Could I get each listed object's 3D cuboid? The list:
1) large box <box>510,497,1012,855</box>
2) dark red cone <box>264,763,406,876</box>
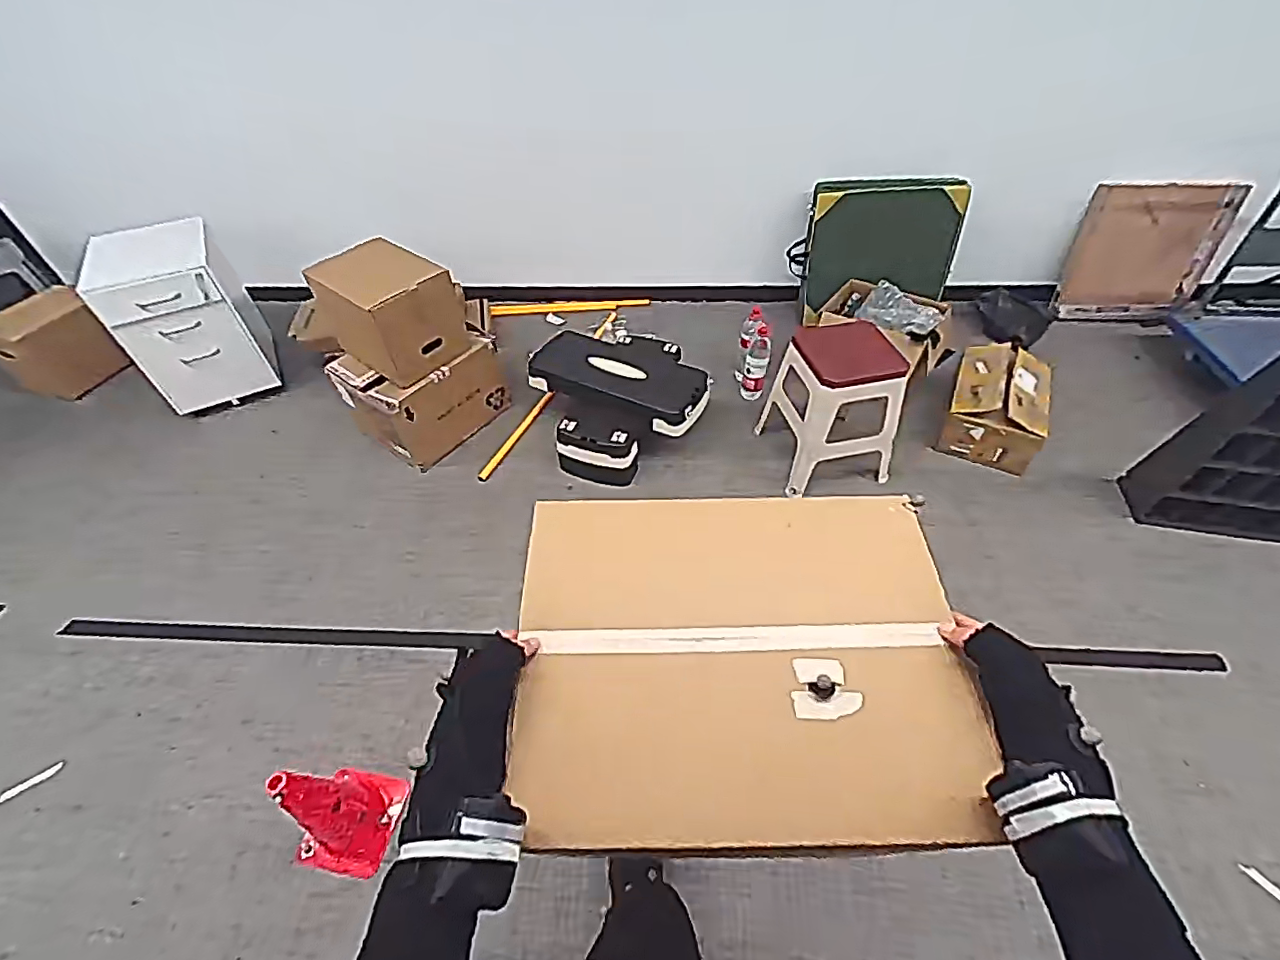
[{"bbox_3d":[0.091,0.235,0.626,0.408,0.320,0.320,-1,54,0],"label":"large box"},{"bbox_3d":[-0.671,0.673,1.132,0.201,0.394,0.202,6,49,7],"label":"dark red cone"}]
